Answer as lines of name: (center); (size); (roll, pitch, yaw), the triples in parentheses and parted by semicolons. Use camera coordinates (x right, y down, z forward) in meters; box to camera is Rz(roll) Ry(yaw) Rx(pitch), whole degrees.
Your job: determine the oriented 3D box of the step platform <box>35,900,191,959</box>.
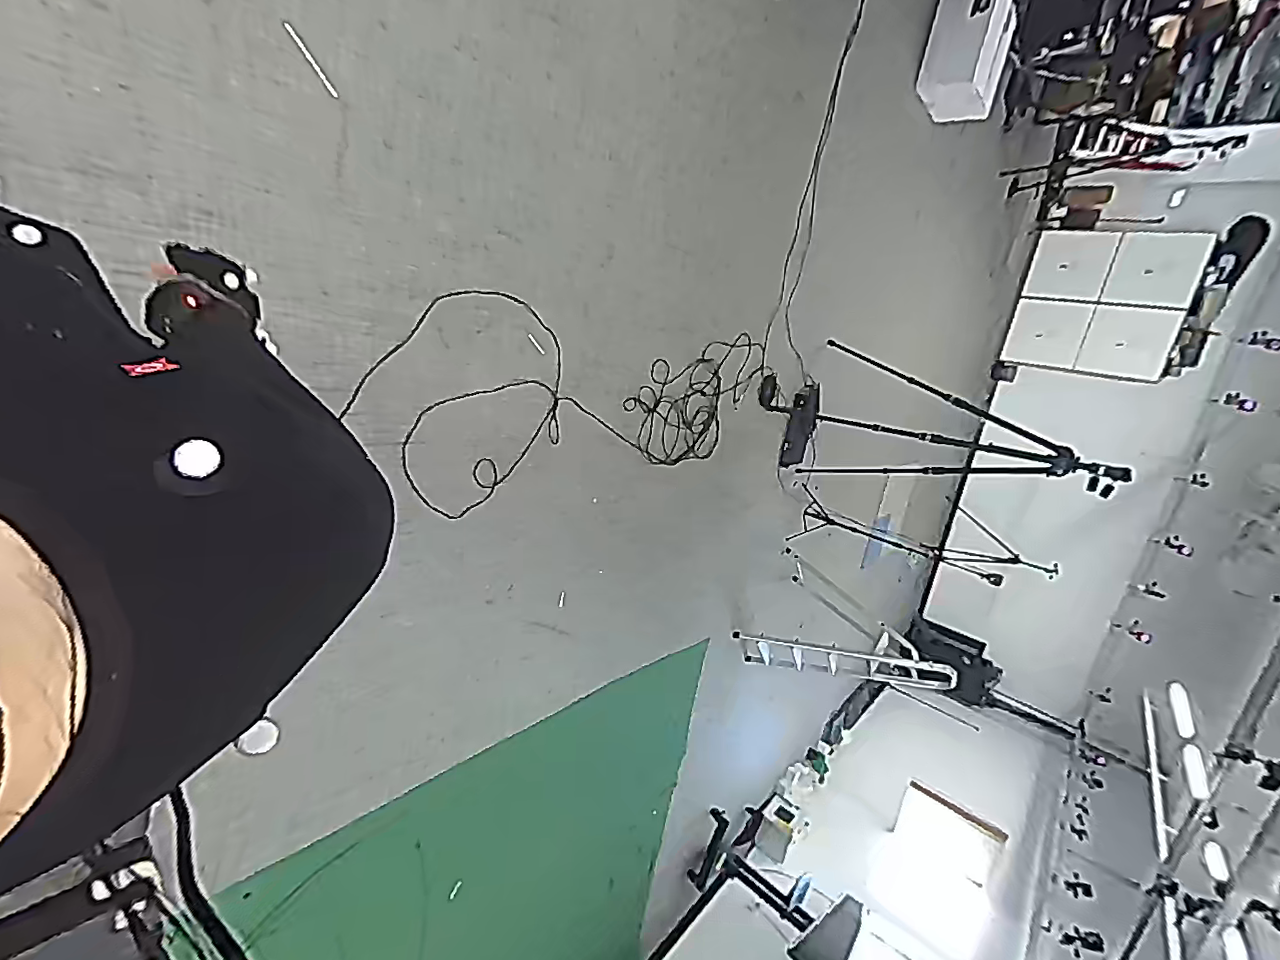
step platform: (-1.275, 1.148, 1.005); (0.684, 0.204, 0.286); (-8, 113, -50)
